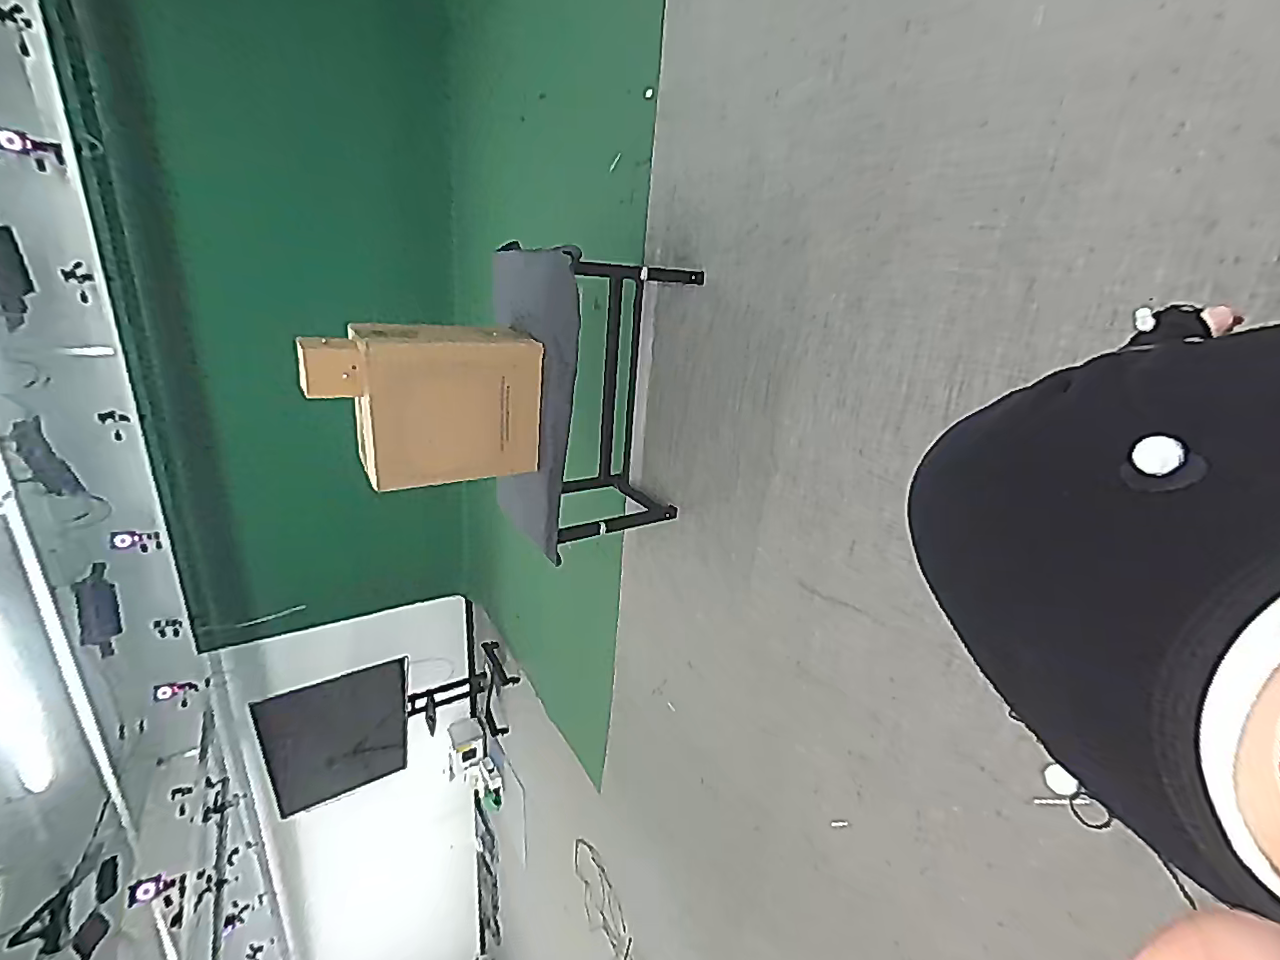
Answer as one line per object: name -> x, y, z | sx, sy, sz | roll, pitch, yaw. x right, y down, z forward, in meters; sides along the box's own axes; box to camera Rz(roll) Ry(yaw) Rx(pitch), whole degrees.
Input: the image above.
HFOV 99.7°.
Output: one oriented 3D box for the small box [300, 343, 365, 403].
small box -> -1.049, -0.368, 1.850 | 0.179, 0.176, 0.168 | 34, 124, 46
